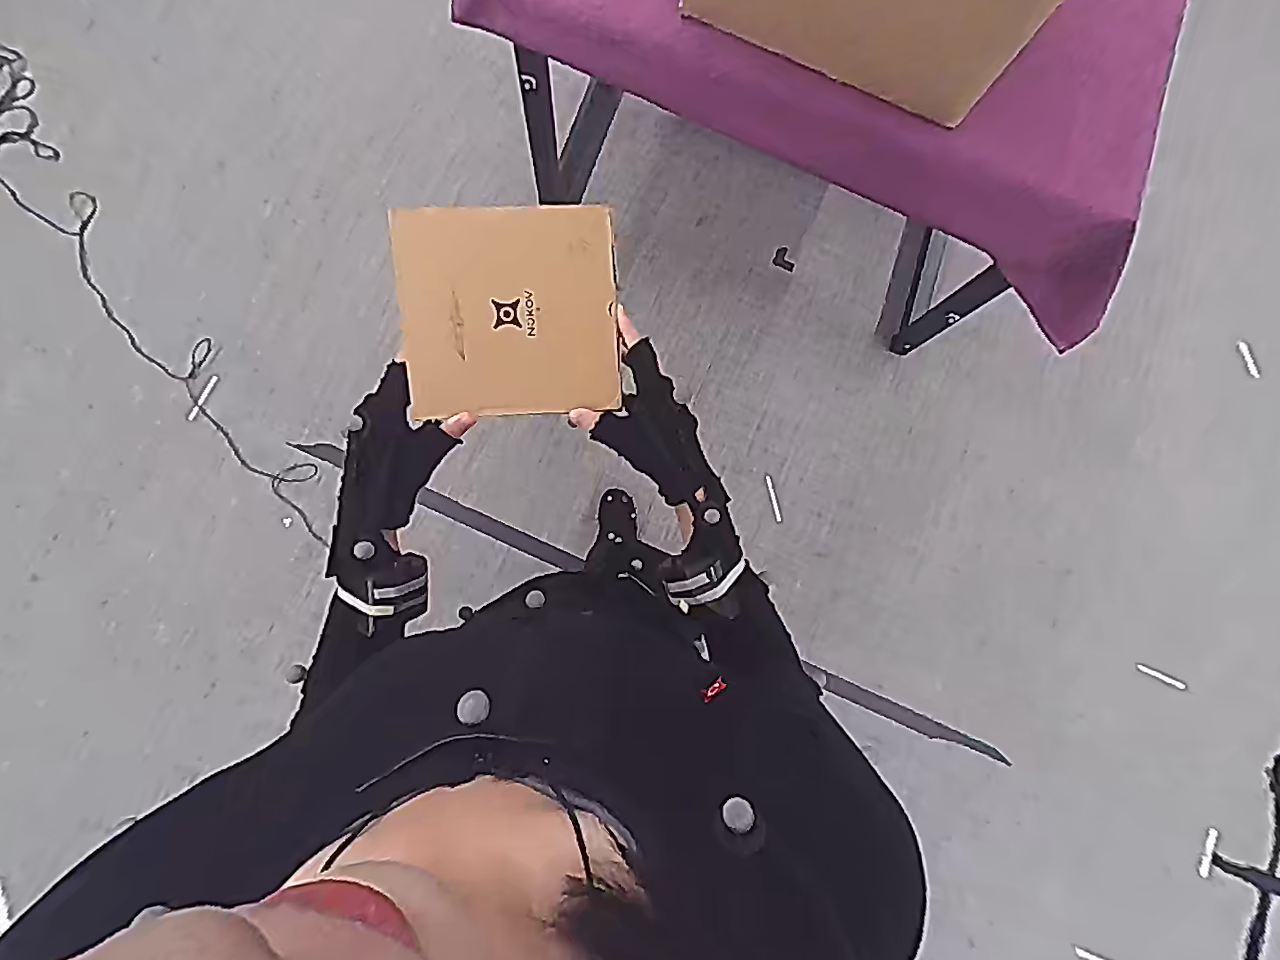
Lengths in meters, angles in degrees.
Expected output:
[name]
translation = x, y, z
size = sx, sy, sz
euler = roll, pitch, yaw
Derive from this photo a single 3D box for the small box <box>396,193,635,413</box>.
[small box]
translation = -0.104, -0.152, 0.507
size = 0.179, 0.176, 0.168
euler = -4, 98, -5
